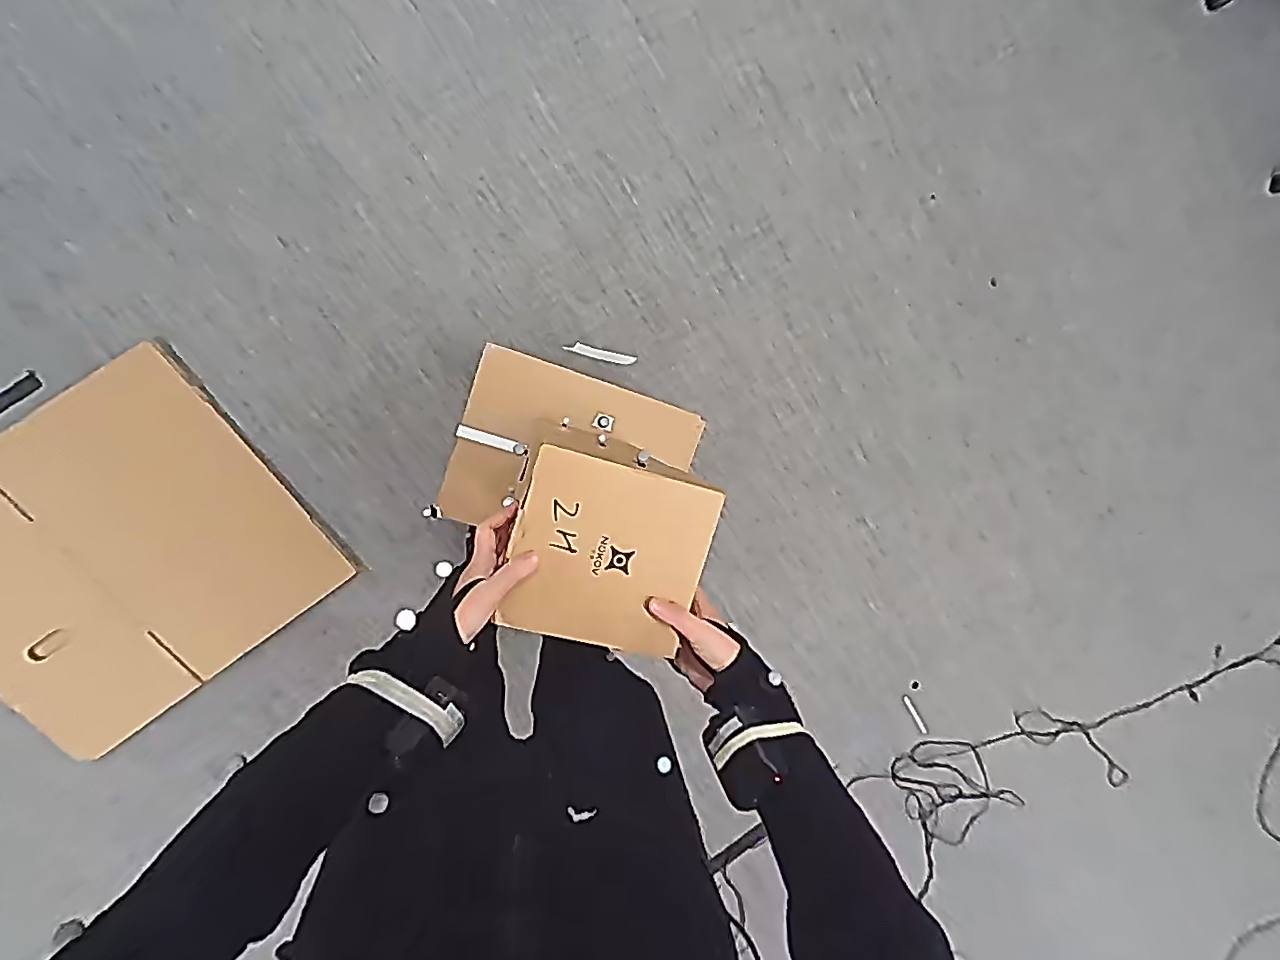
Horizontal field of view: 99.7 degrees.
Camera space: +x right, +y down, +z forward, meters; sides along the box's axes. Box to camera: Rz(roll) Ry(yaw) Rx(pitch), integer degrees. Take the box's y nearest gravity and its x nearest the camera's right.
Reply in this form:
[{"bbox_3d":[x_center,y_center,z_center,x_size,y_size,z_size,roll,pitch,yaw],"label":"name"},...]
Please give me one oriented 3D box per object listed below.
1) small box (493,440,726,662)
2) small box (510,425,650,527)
[{"bbox_3d":[-0.040,0.060,0.558,0.179,0.176,0.168,16,95,-14],"label":"small box"},{"bbox_3d":[-0.103,0.011,0.877,0.179,0.176,0.168,15,96,-14],"label":"small box"}]
